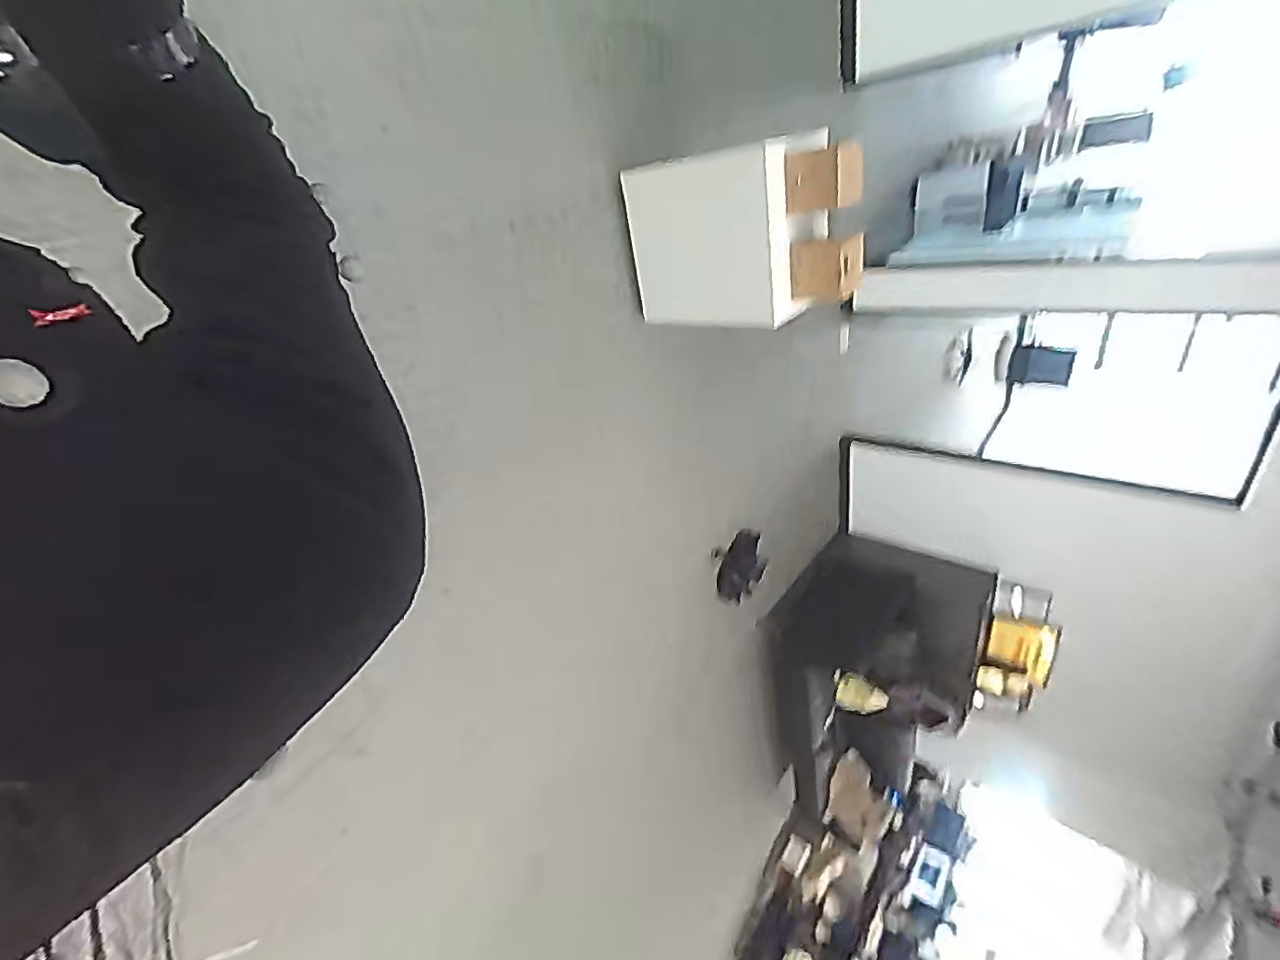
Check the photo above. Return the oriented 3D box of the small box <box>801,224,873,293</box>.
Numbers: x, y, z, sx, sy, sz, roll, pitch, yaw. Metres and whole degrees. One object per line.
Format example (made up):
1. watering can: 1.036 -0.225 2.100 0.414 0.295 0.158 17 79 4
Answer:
1. small box: 0.623 -0.698 1.713 0.179 0.176 0.168 -38 128 -36

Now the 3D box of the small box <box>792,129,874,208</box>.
1. small box: 0.564 -0.908 1.581 0.179 0.176 0.168 -38 128 -33
